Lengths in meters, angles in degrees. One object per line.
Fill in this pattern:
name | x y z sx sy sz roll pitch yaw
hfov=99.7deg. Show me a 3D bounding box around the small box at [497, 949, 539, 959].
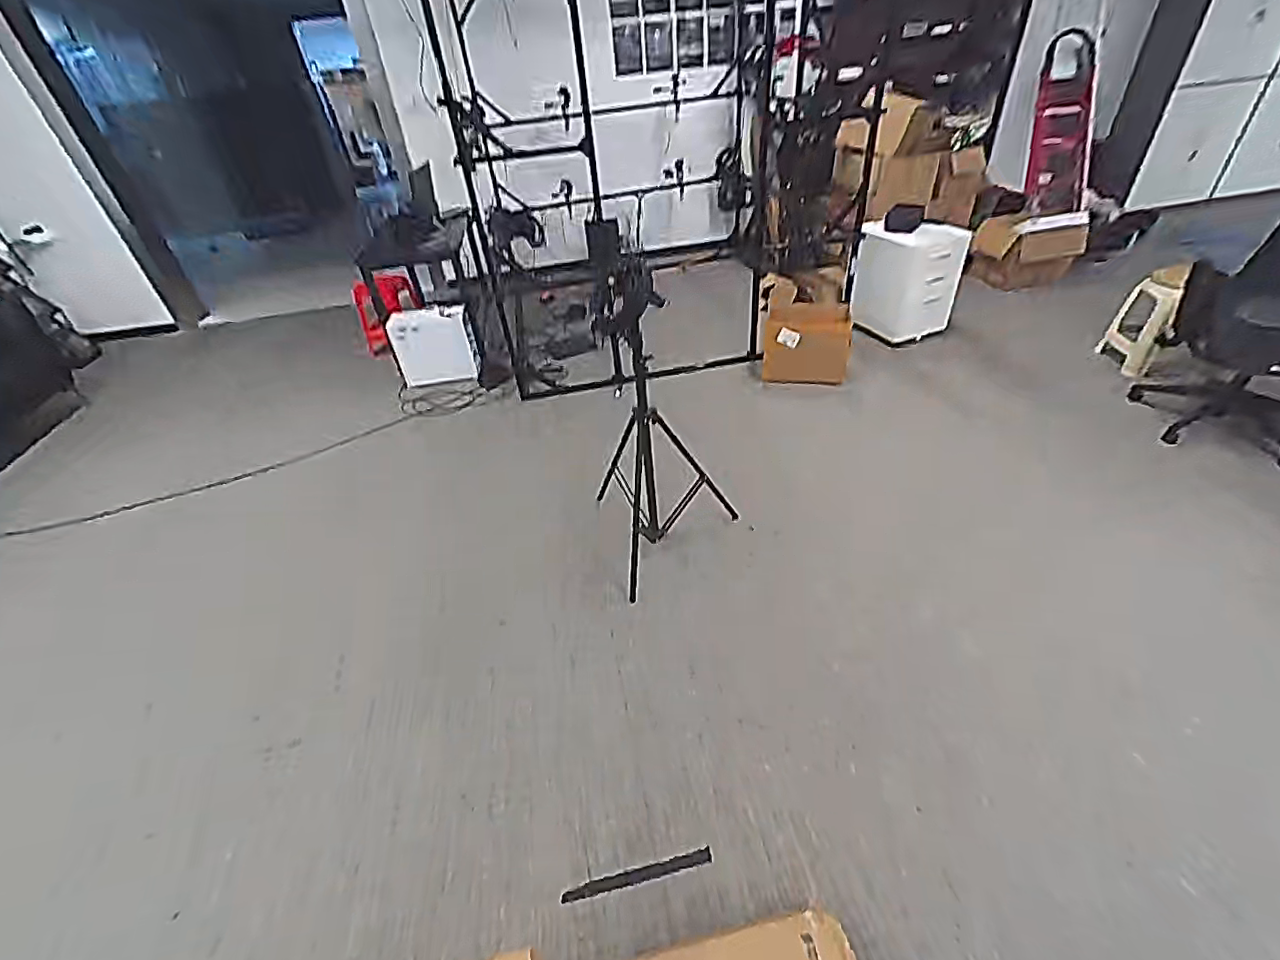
small box | -0.221 0.871 0.825 0.168 0.176 0.179 -12 37 -8
